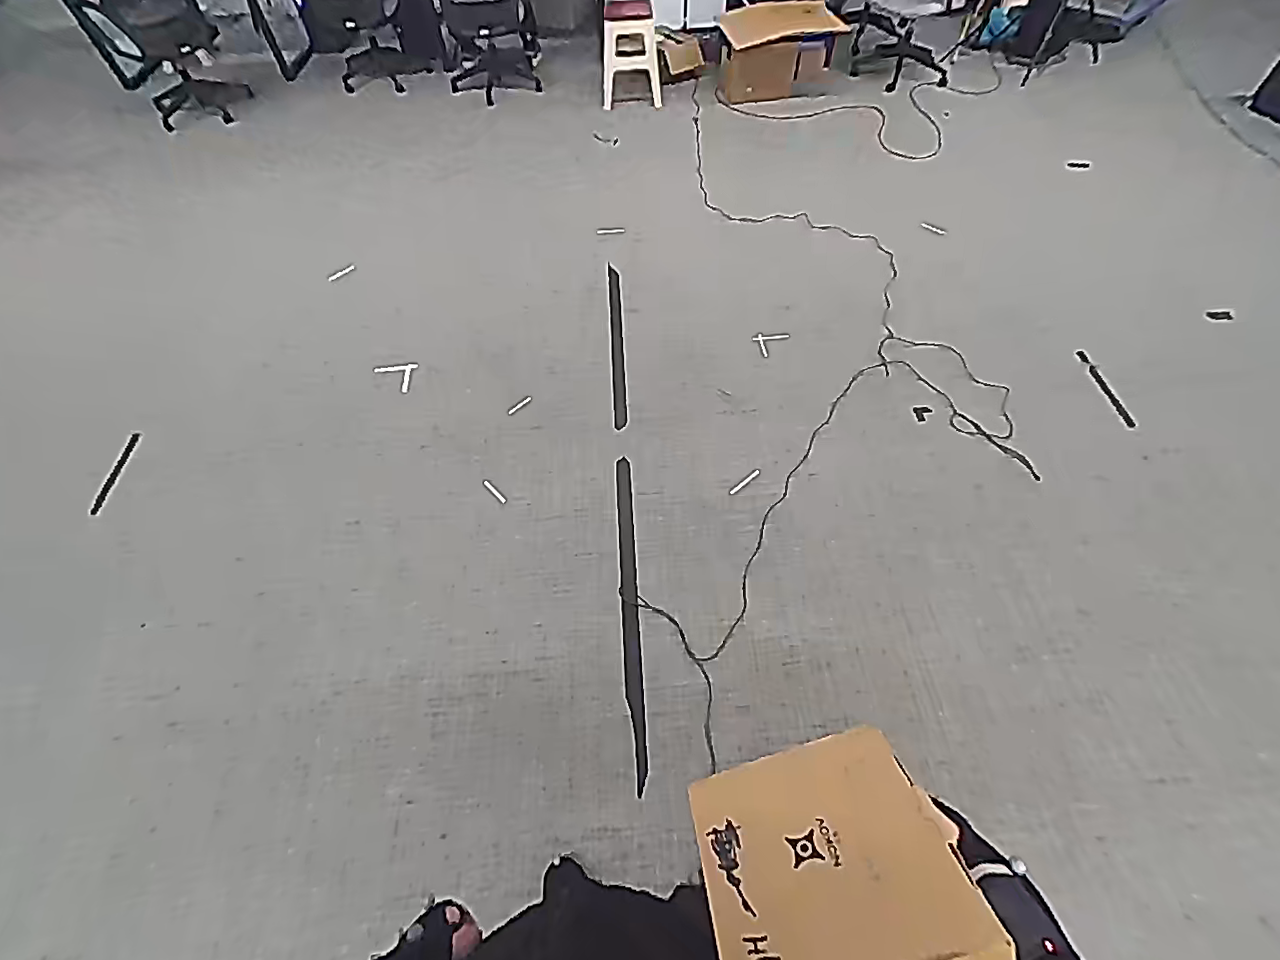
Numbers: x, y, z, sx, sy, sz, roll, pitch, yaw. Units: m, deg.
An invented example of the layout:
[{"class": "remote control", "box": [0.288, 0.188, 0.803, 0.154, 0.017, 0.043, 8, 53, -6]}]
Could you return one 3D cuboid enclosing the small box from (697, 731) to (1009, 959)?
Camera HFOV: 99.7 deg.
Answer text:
[{"class": "small box", "box": [0.161, 0.347, 0.437, 0.179, 0.176, 0.168, -18, 20, 3]}]
